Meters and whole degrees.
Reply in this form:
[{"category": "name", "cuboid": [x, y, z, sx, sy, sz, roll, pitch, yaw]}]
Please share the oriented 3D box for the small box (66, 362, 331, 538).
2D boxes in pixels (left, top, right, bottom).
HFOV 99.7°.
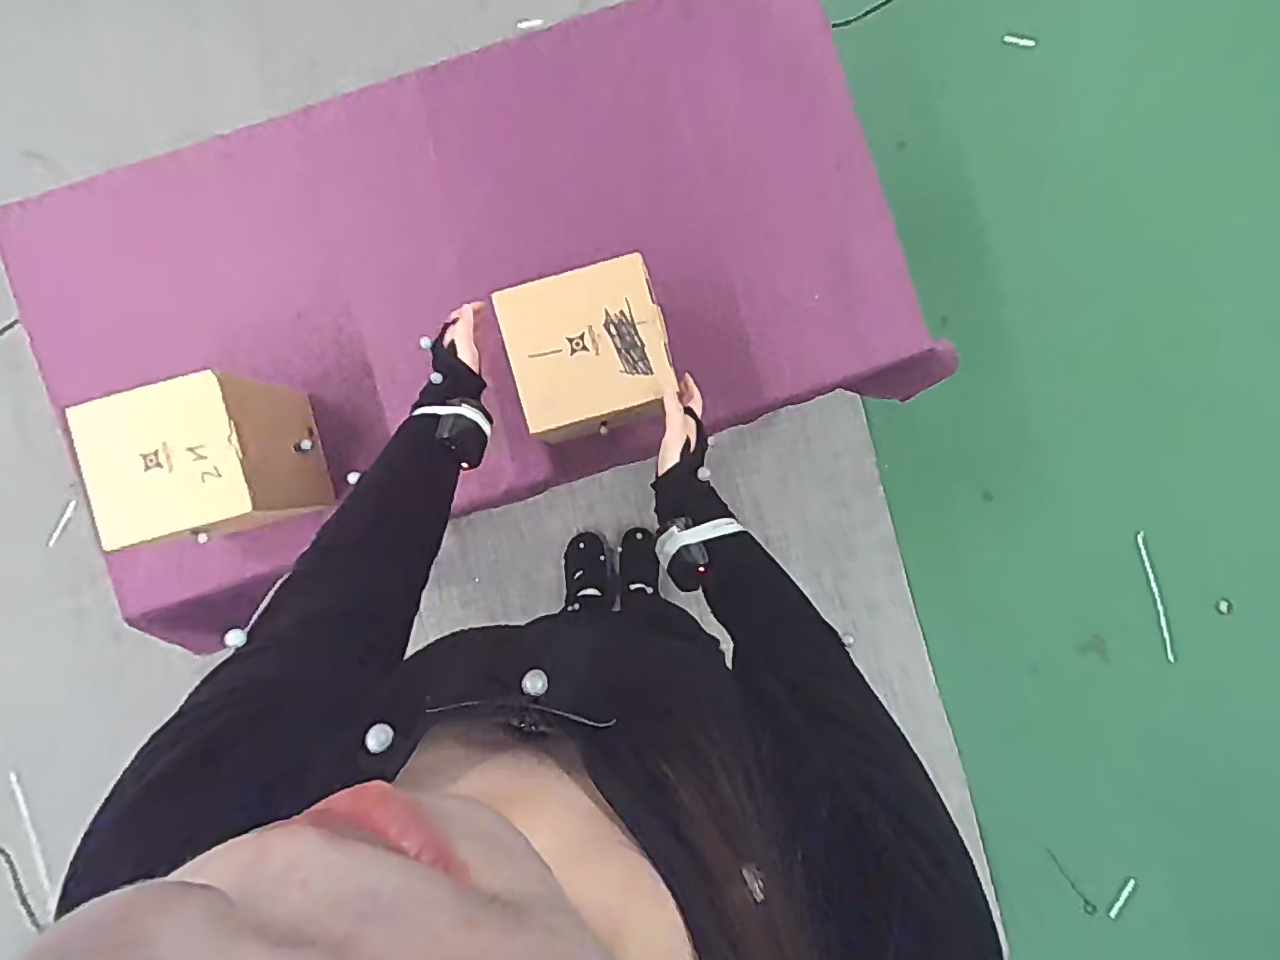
[{"category": "small box", "cuboid": [-0.533, -0.032, 0.677, 0.179, 0.176, 0.168, -14, 91, -1]}]
